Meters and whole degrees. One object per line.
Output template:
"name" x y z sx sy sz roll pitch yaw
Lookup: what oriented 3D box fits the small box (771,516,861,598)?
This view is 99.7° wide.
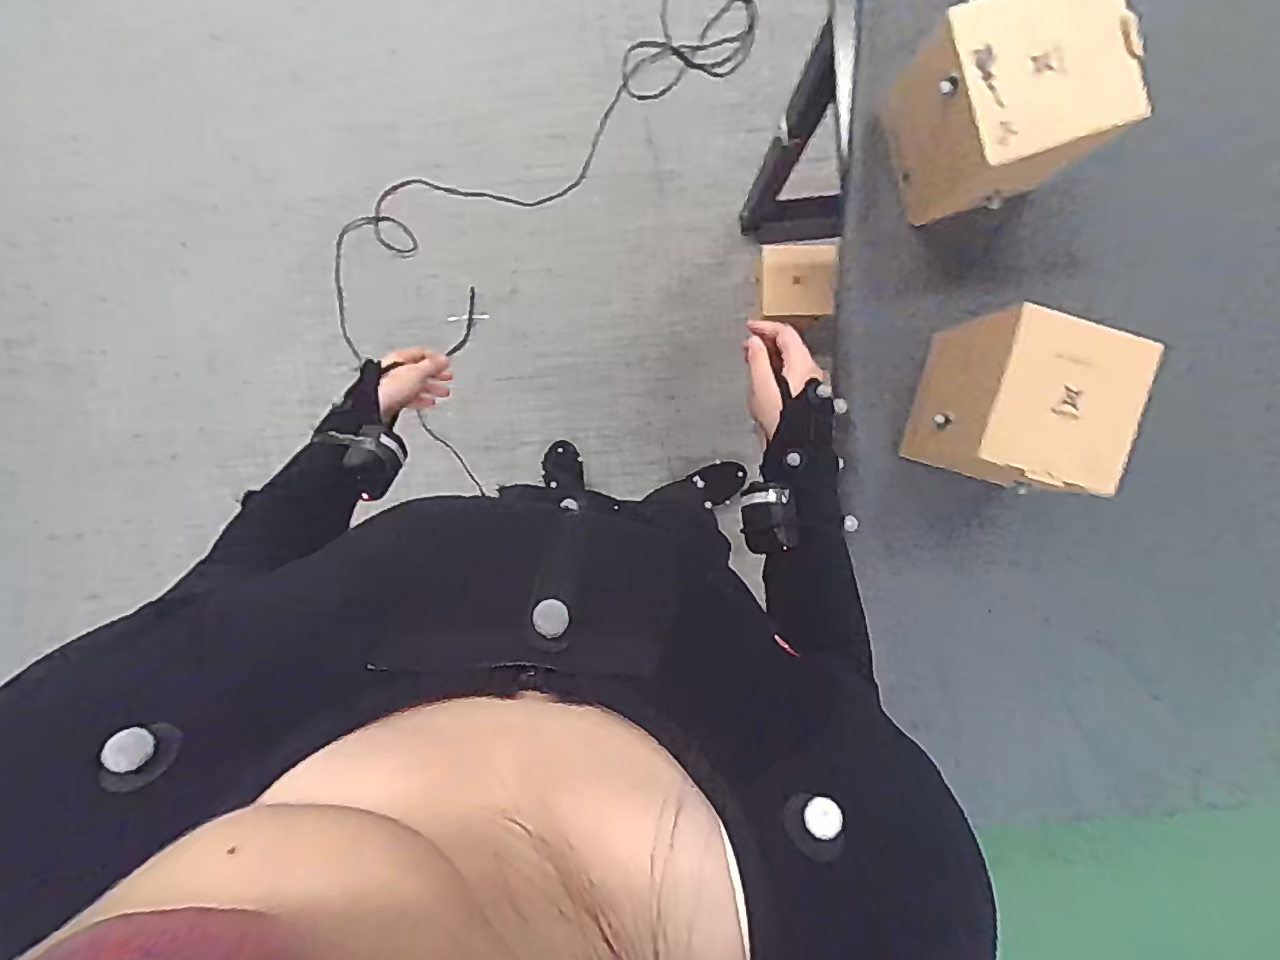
"small box" 0.450 0.196 1.411 0.179 0.176 0.168 -10 95 0

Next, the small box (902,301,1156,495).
"small box" 0.454 -0.092 0.663 0.168 0.176 0.179 15 92 -4

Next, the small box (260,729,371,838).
"small box" -0.849 0.798 1.441 0.179 0.176 0.168 -20 94 2

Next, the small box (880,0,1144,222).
"small box" 0.420 -0.436 0.637 0.179 0.176 0.168 -17 94 1

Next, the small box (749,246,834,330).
"small box" 0.375 -0.479 1.367 0.179 0.176 0.168 -1 94 -1
